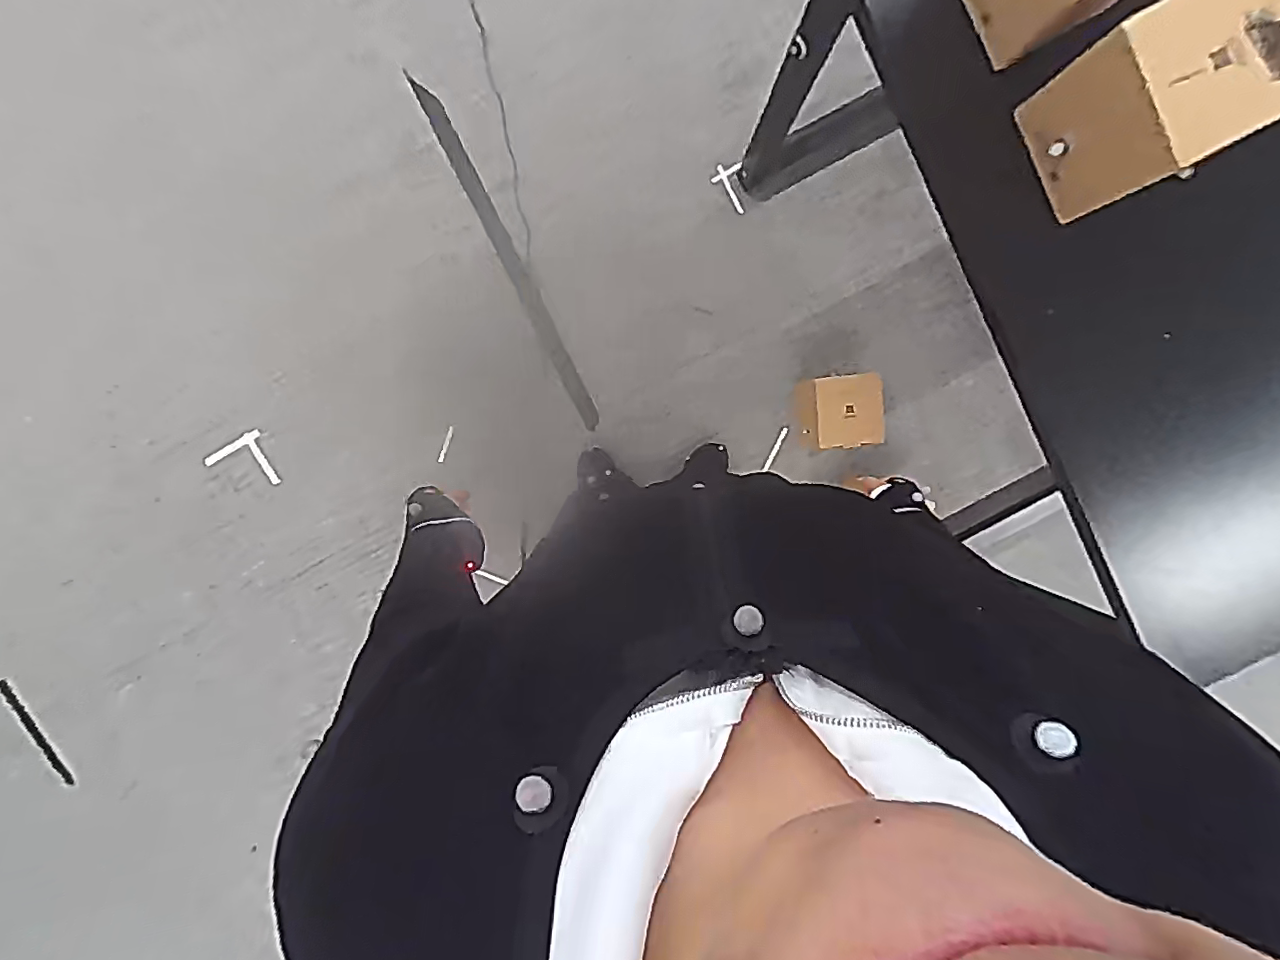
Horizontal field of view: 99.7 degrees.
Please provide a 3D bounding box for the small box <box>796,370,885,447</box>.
[{"bbox_3d":[0.515,-0.185,1.406,0.168,0.176,0.179,-7,95,-1],"label":"small box"}]

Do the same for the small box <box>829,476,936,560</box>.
[{"bbox_3d":[0.634,0.093,1.433,0.179,0.176,0.168,16,95,-2],"label":"small box"}]

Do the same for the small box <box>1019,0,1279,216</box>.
[{"bbox_3d":[0.612,-0.455,0.645,0.179,0.176,0.168,-27,95,3],"label":"small box"}]
